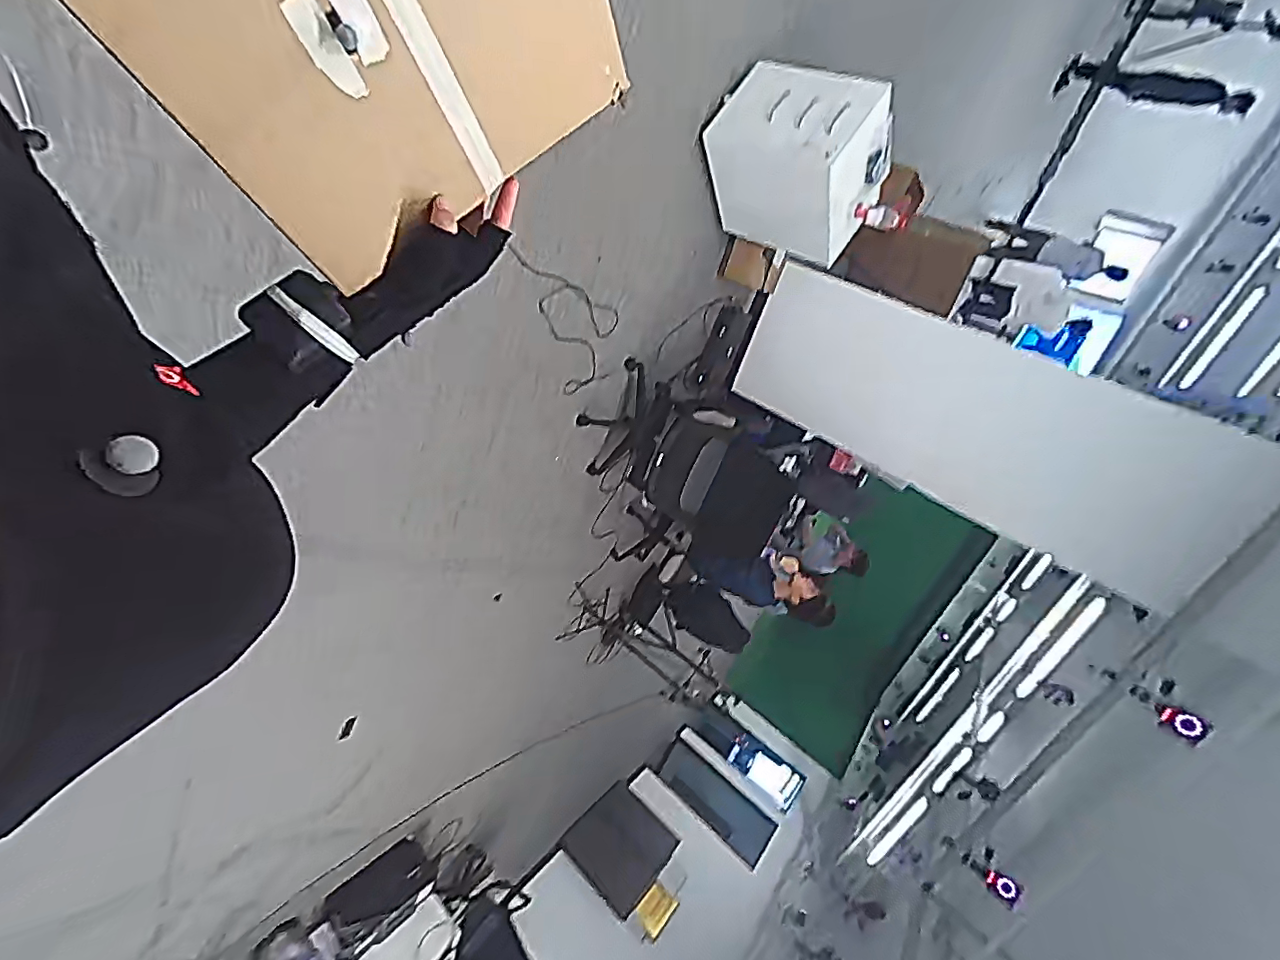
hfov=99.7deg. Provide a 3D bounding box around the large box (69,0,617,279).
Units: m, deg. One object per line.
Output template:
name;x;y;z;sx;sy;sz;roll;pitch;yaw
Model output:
large box;-0.274;-0.441;0.371;0.320;0.320;0.408;-41;151;-7
